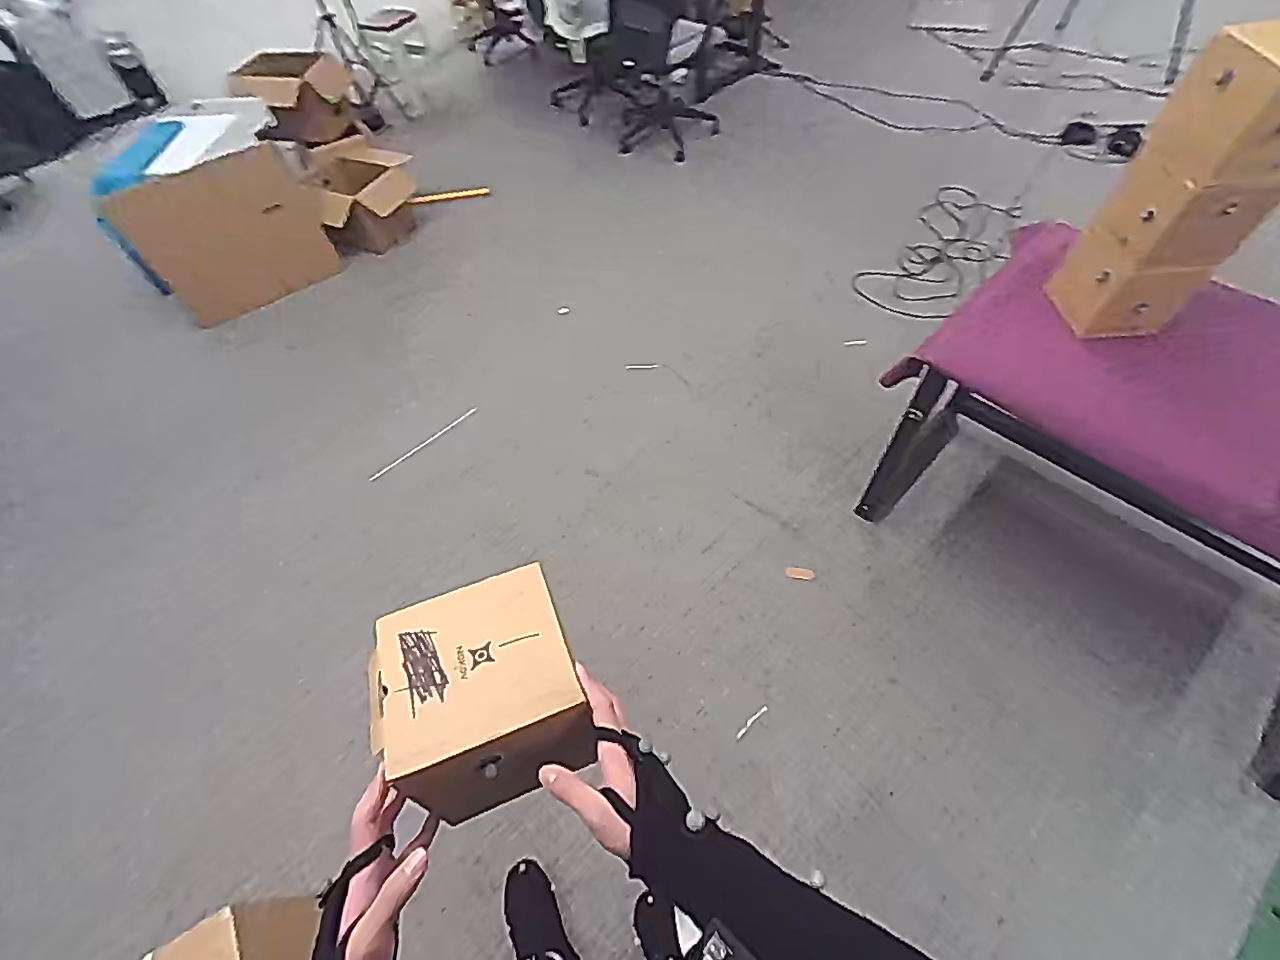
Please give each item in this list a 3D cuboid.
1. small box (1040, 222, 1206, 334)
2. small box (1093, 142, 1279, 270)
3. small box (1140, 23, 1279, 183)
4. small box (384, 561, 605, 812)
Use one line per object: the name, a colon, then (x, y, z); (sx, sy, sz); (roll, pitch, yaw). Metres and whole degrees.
small box: (1.011, -0.428, 1.151); (0.168, 0.176, 0.179); (-3, 57, 2)
small box: (1.007, -0.515, 1.015); (0.179, 0.176, 0.168); (-3, 58, 2)
small box: (0.993, -0.607, 0.882); (0.168, 0.176, 0.179); (-5, 57, 2)
small box: (-0.149, 0.221, 0.575); (0.179, 0.176, 0.168); (-18, 48, -12)
